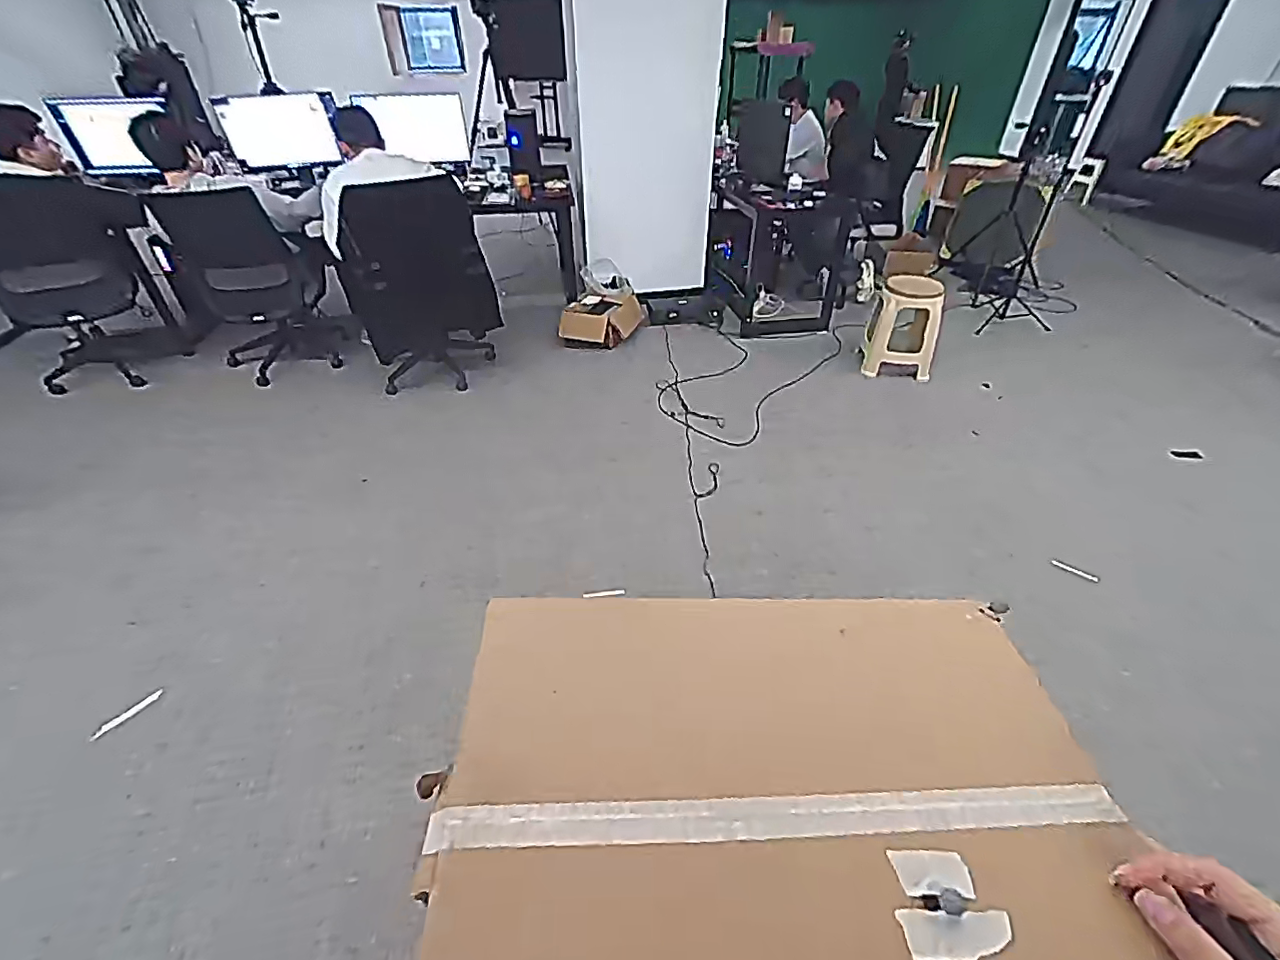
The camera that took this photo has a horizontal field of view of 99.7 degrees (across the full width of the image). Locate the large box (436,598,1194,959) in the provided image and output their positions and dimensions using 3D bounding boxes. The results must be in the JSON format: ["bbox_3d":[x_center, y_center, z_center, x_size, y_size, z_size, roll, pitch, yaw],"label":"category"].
[{"bbox_3d":[0.078,0.310,0.428,0.408,0.320,0.320,2,42,-6],"label":"large box"}]
